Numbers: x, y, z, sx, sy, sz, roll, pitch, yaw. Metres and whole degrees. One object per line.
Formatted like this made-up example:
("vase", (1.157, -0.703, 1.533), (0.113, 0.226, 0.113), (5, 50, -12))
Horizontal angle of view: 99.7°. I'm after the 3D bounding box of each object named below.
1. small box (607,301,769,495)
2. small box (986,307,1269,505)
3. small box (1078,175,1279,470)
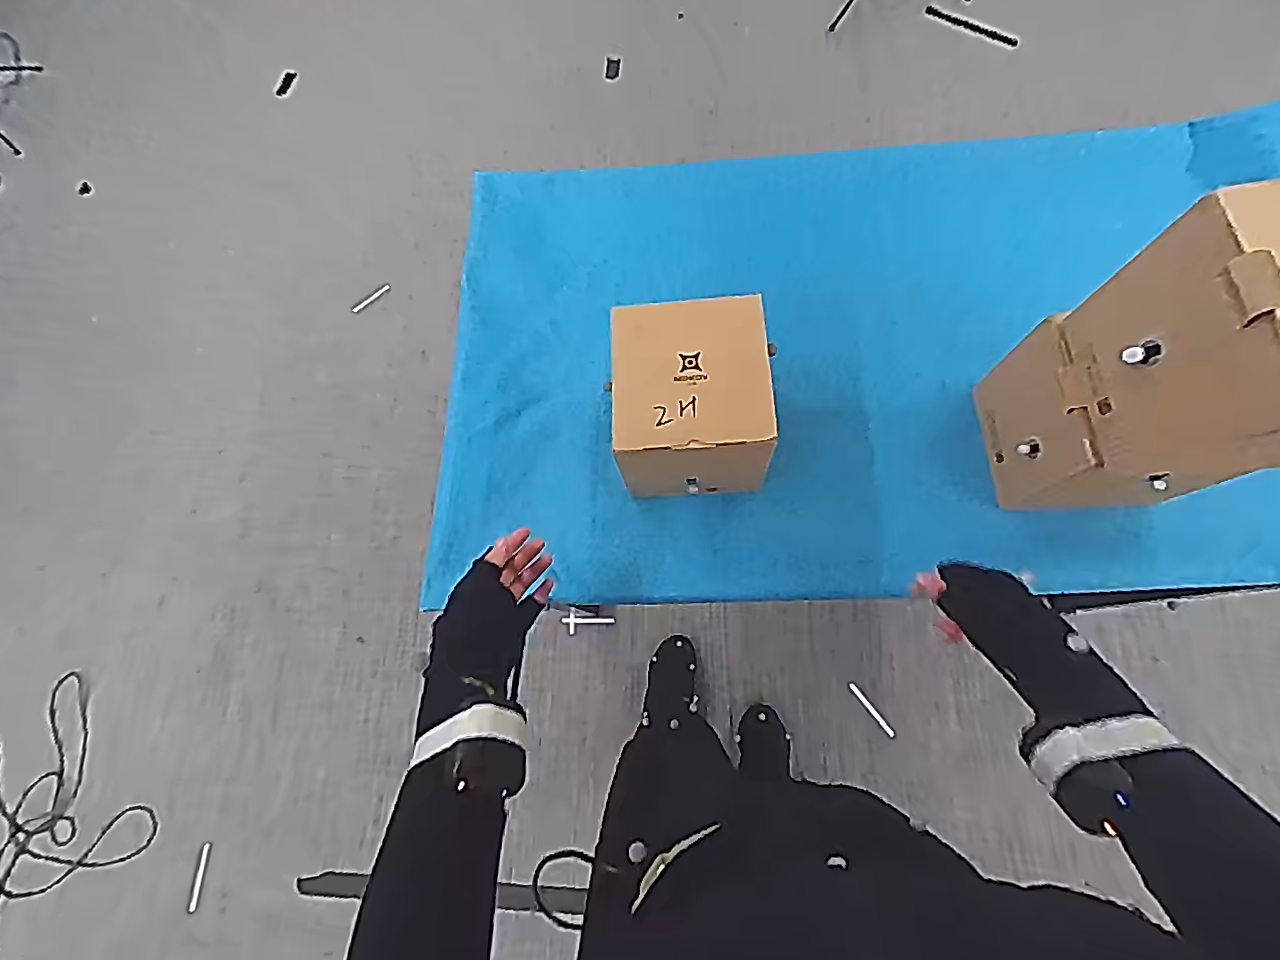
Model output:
("small box", (0.059, -0.088, 0.640), (0.168, 0.176, 0.179), (0, 75, 8))
("small box", (0.506, -0.072, 0.583), (0.179, 0.176, 0.168), (-3, 73, 6))
("small box", (0.496, -0.114, 0.426), (0.179, 0.176, 0.168), (-6, 72, 4))
